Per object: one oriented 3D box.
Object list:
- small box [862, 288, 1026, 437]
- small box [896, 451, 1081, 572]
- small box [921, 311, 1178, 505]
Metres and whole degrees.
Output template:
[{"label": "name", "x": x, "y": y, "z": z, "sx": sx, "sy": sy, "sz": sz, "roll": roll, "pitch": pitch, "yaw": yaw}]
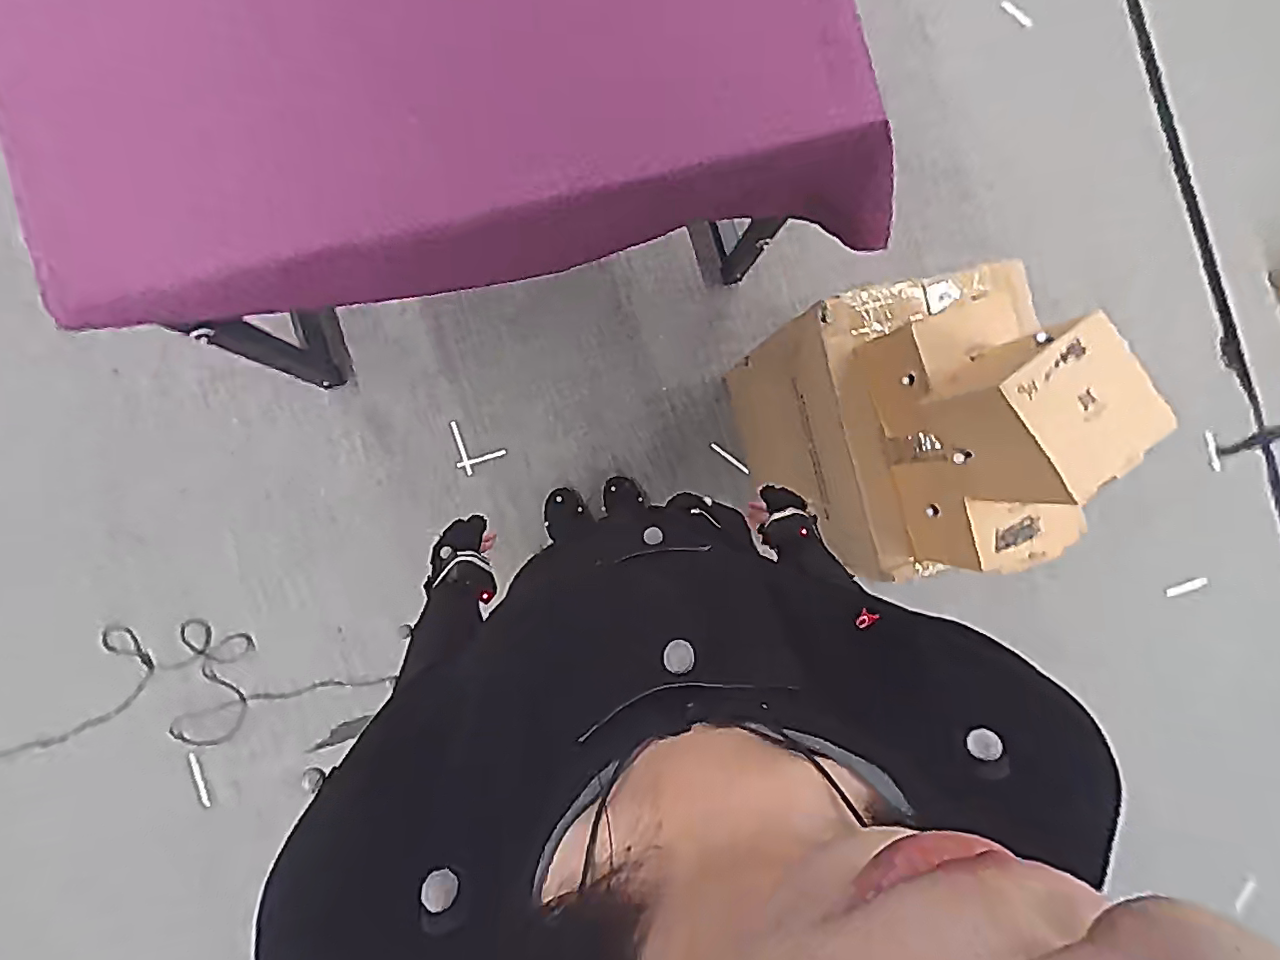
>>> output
[{"label": "small box", "x": 0.492, "y": -0.180, "z": 0.879, "sx": 0.168, "sy": 0.176, "sz": 0.179, "roll": -20, "pitch": 92, "yaw": -5}, {"label": "small box", "x": 0.552, "y": 0.036, "z": 0.879, "sx": 0.168, "sy": 0.176, "sz": 0.179, "roll": -15, "pitch": 88, "yaw": -6}, {"label": "small box", "x": 0.523, "y": -0.086, "z": 0.716, "sx": 0.168, "sy": 0.176, "sz": 0.179, "roll": -36, "pitch": 93, "yaw": -6}]
